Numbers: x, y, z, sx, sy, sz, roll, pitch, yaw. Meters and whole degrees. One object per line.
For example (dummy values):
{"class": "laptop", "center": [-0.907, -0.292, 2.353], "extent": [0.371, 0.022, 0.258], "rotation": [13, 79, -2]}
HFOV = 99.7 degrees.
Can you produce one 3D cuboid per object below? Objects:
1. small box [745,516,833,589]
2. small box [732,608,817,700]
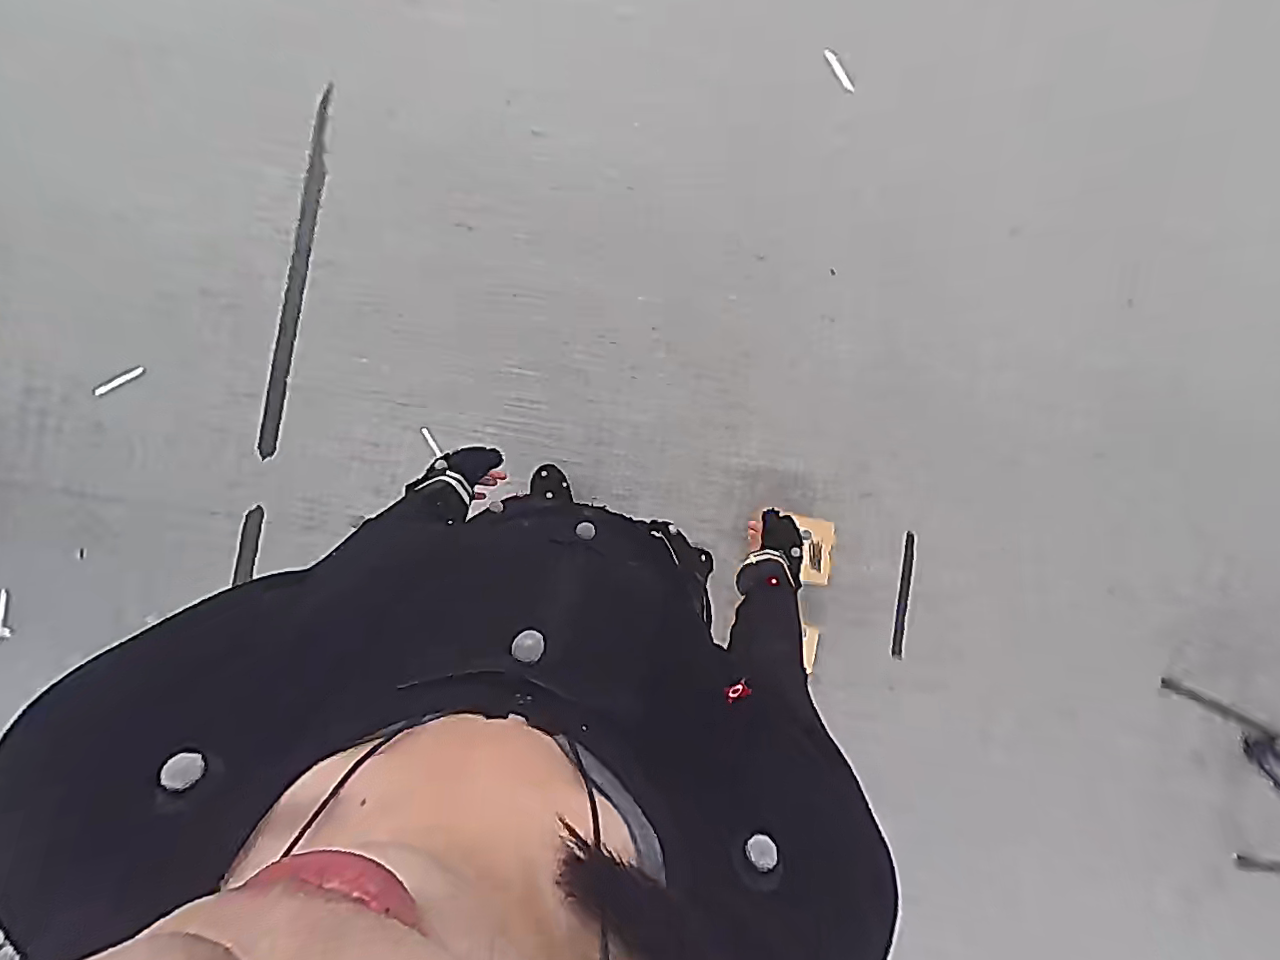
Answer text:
{"class": "small box", "center": [0.397, 0.189, 1.462], "extent": [0.179, 0.176, 0.168], "rotation": [8, 88, -2]}
{"class": "small box", "center": [0.353, 0.462, 1.457], "extent": [0.168, 0.176, 0.179], "rotation": [12, 90, -2]}
